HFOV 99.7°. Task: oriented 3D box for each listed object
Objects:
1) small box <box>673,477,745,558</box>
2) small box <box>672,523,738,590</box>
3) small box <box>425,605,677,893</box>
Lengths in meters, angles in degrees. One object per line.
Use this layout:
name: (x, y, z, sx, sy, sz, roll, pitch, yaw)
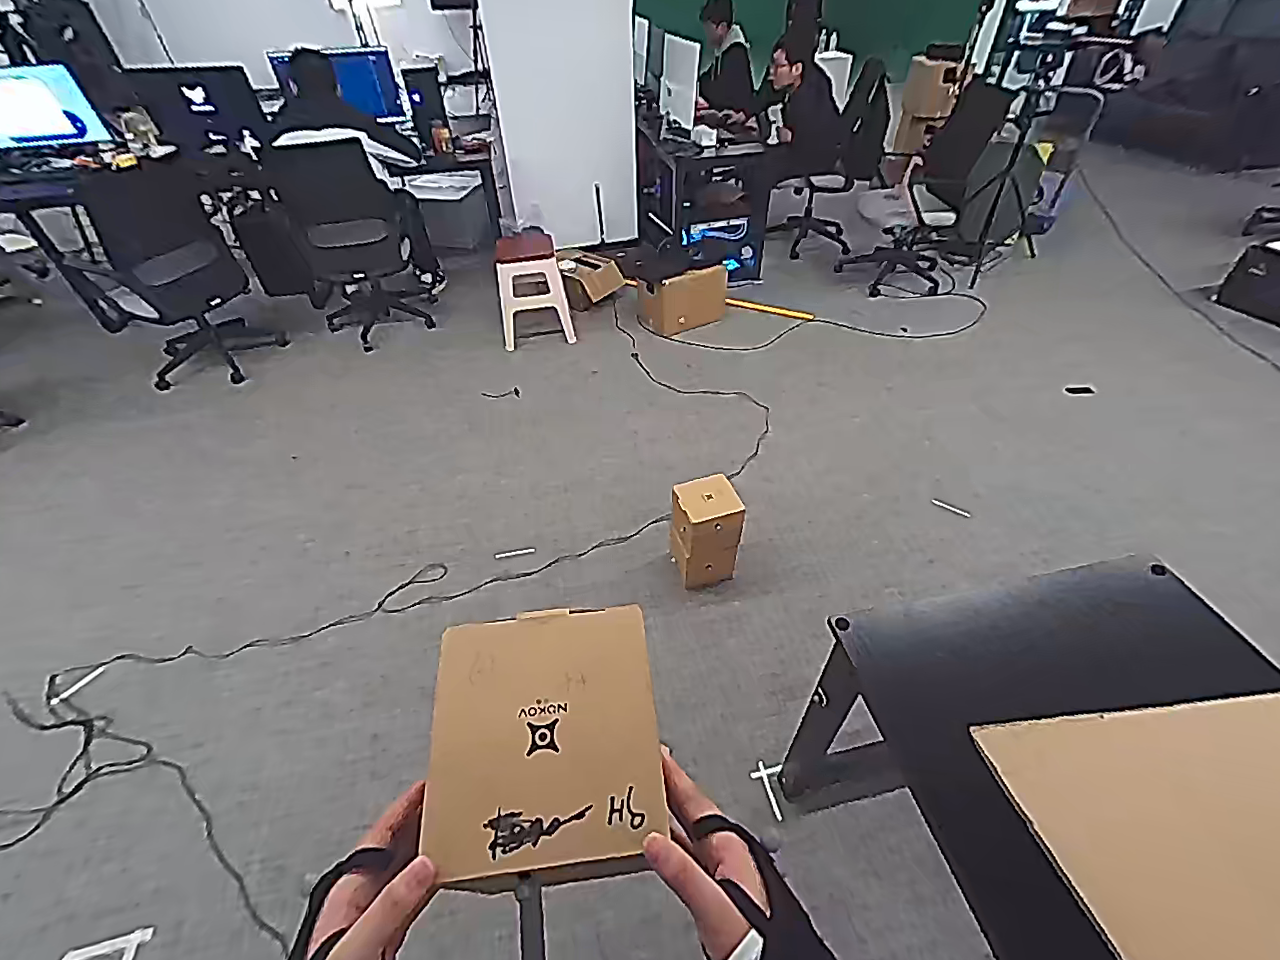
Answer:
small box: (0.210, 0.121, 1.695, 0.179, 0.176, 0.168, -14, 46, -13)
small box: (0.210, 0.240, 1.805, 0.179, 0.176, 0.168, -13, 44, -9)
small box: (-0.064, 0.231, 0.463, 0.168, 0.176, 0.179, -6, 50, -3)
